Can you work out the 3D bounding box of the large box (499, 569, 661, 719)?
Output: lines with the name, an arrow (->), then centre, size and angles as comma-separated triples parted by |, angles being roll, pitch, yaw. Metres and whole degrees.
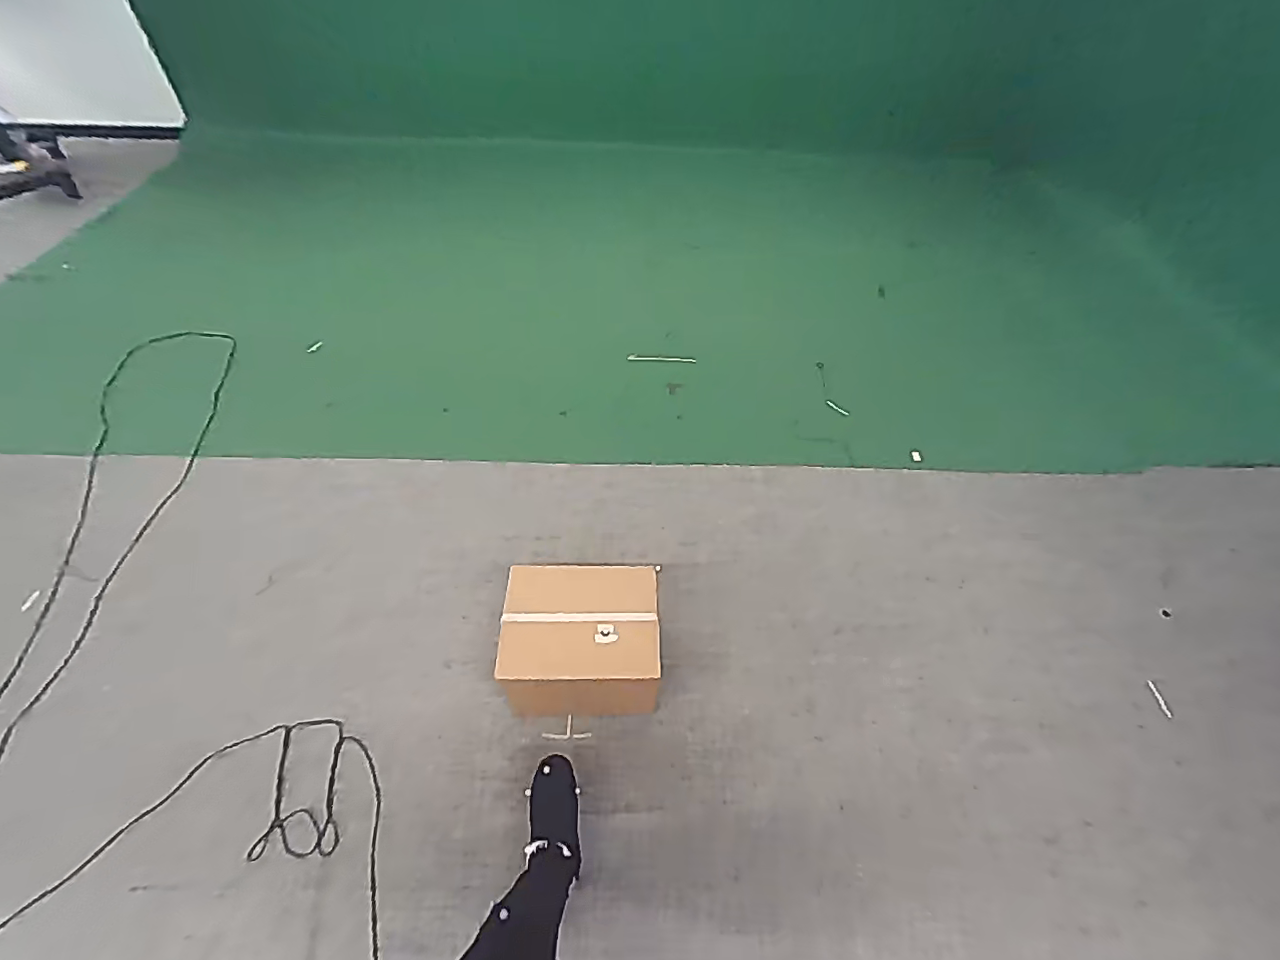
large box -> -0.159, 0.464, 1.523 | 0.408, 0.320, 0.320 | 0, 50, -3
